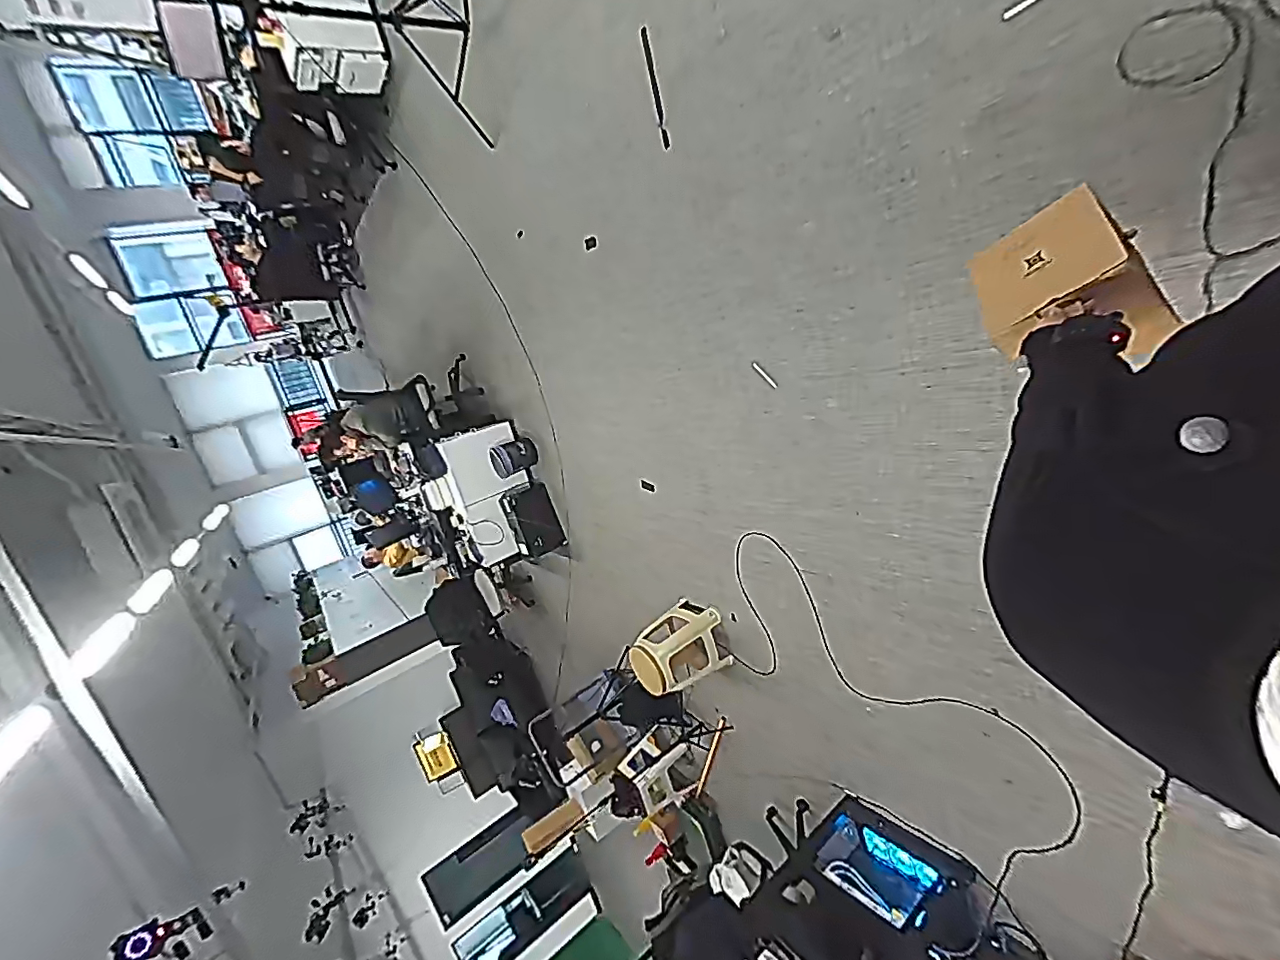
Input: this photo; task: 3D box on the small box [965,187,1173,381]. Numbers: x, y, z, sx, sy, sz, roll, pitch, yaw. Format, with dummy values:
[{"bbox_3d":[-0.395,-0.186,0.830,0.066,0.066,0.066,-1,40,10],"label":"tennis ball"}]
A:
[{"bbox_3d":[0.612,-0.267,0.782,0.168,0.176,0.179,-33,38,46],"label":"small box"}]
